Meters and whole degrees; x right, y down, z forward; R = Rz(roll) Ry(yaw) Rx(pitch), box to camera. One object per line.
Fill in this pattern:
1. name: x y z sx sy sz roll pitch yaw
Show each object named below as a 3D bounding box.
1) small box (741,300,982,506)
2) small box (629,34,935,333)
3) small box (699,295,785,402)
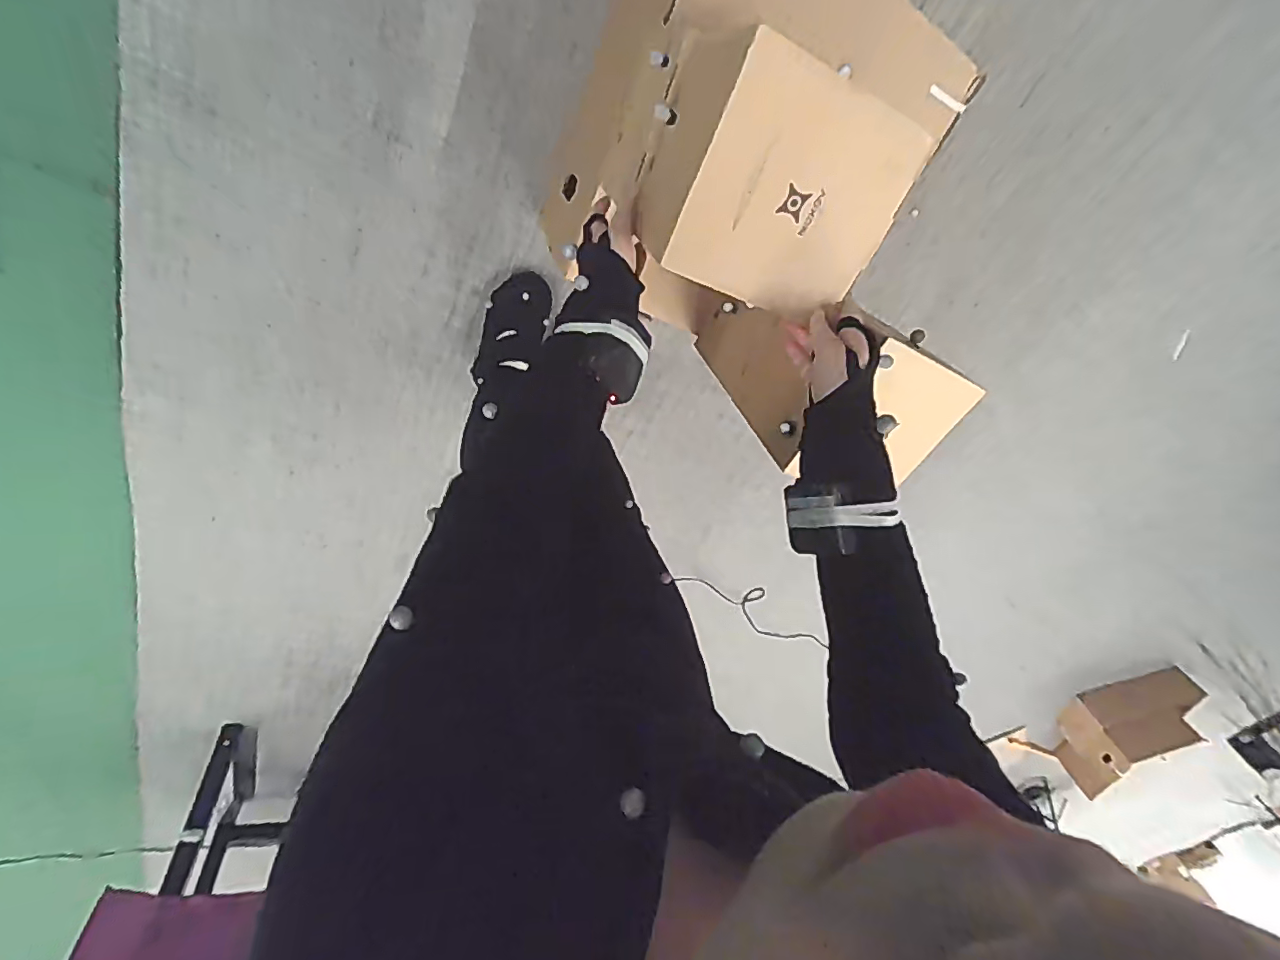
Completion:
1. small box: 0.248 -0.101 0.651 0.168 0.176 0.179 16 123 -26
2. small box: 0.108 -0.263 0.490 0.179 0.176 0.168 14 121 -22
3. small box: 0.213 -0.198 0.778 0.179 0.176 0.168 16 122 -26
